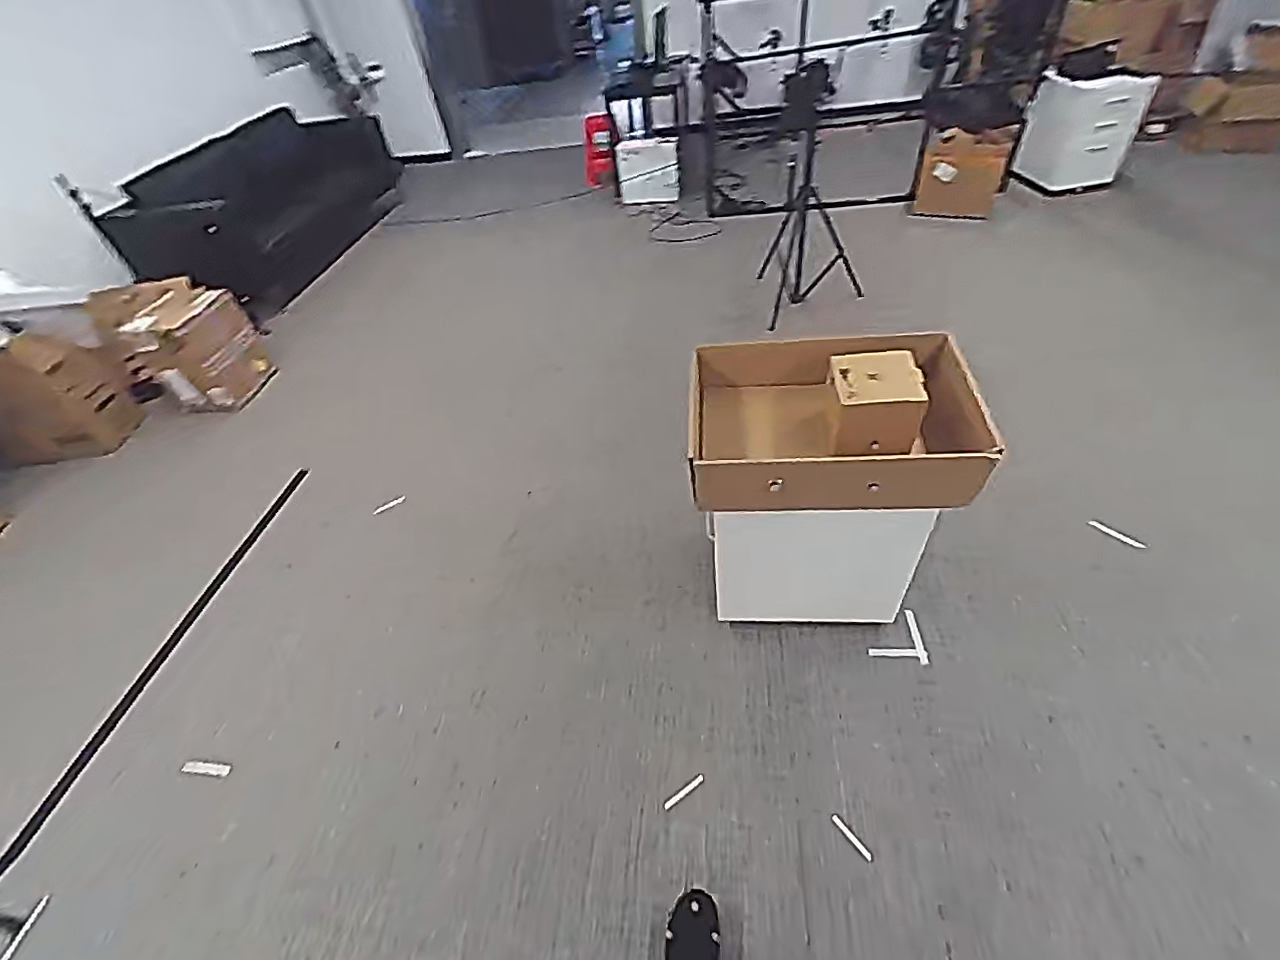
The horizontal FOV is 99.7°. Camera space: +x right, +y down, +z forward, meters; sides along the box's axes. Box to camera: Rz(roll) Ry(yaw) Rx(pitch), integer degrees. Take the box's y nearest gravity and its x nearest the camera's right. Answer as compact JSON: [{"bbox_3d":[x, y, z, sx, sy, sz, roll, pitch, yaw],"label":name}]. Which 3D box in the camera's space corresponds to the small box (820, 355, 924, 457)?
[{"bbox_3d":[0.523,-0.166,1.244,0.179,0.176,0.168,-2,50,9],"label":"small box"}]
